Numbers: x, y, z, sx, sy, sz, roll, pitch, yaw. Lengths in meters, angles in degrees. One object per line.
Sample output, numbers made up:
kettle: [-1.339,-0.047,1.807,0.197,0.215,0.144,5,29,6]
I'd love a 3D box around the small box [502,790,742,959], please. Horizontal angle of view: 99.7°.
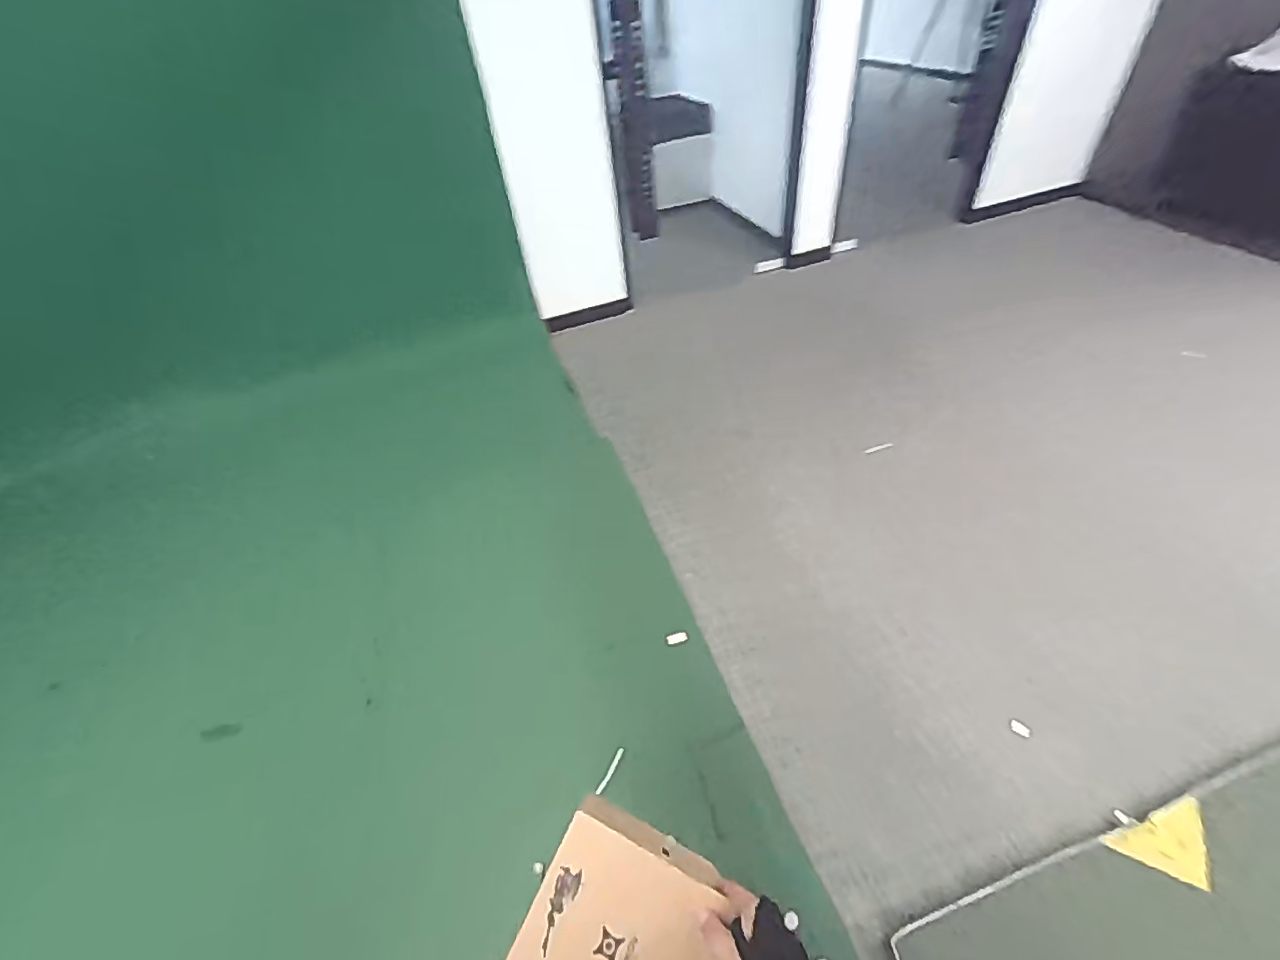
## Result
small box: [-0.020,0.449,0.560,0.179,0.176,0.168,27,67,10]
